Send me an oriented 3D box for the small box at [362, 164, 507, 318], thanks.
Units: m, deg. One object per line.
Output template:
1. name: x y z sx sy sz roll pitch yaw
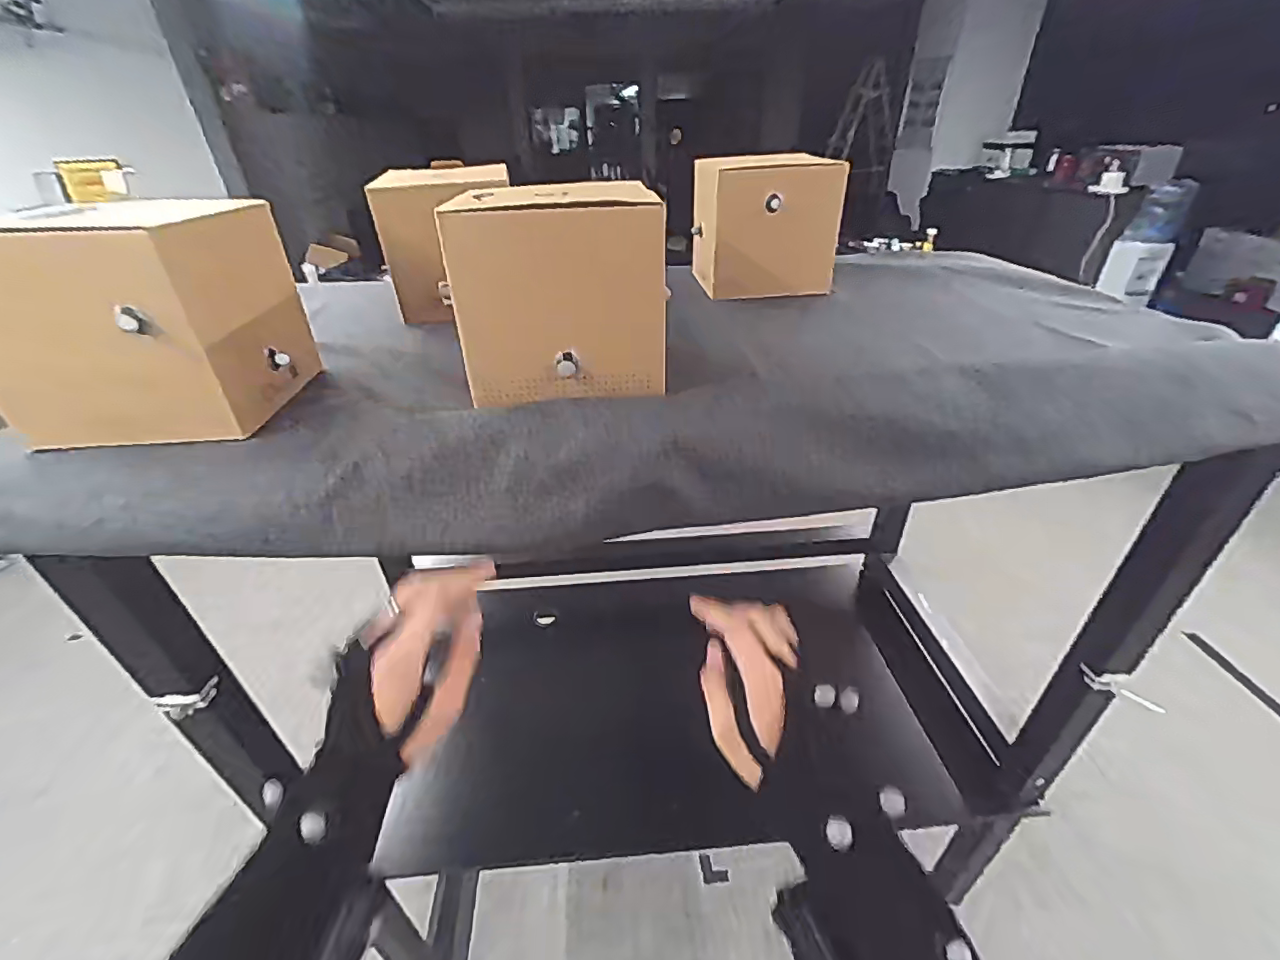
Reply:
1. small box: -0.255 -0.333 0.748 0.168 0.176 0.179 -9 34 -8

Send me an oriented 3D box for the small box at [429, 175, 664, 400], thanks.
1. small box: -0.075 -0.185 0.511 0.179 0.176 0.168 -4 32 -4

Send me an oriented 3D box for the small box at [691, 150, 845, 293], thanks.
1. small box: 0.173 -0.379 0.791 0.179 0.176 0.168 -4 34 -3
